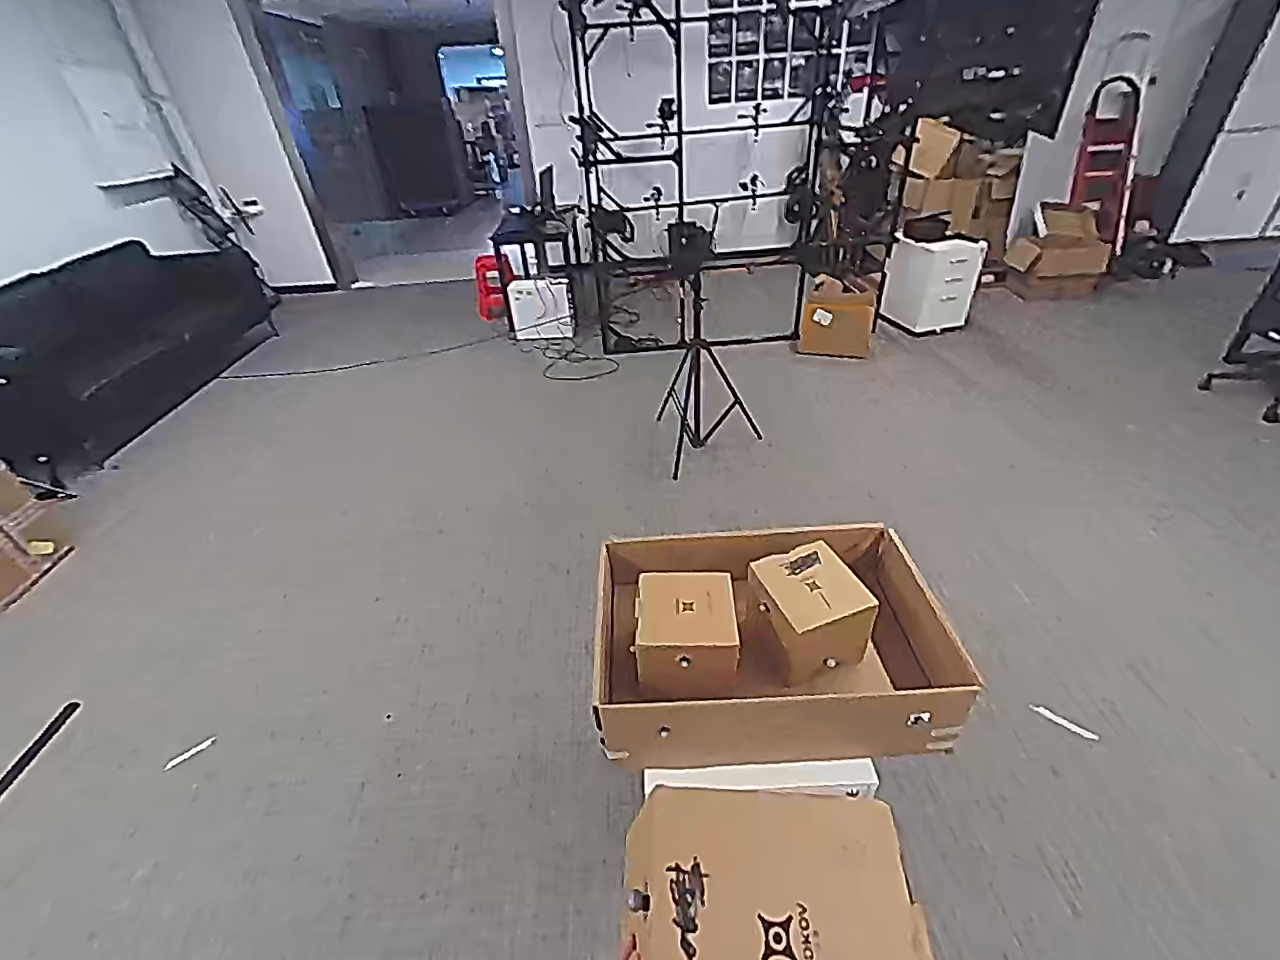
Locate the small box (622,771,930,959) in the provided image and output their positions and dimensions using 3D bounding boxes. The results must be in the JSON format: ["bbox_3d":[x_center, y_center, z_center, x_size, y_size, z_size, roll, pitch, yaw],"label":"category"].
[{"bbox_3d":[0.085,0.334,0.395,0.179,0.176,0.168,8,45,-4],"label":"small box"}]
